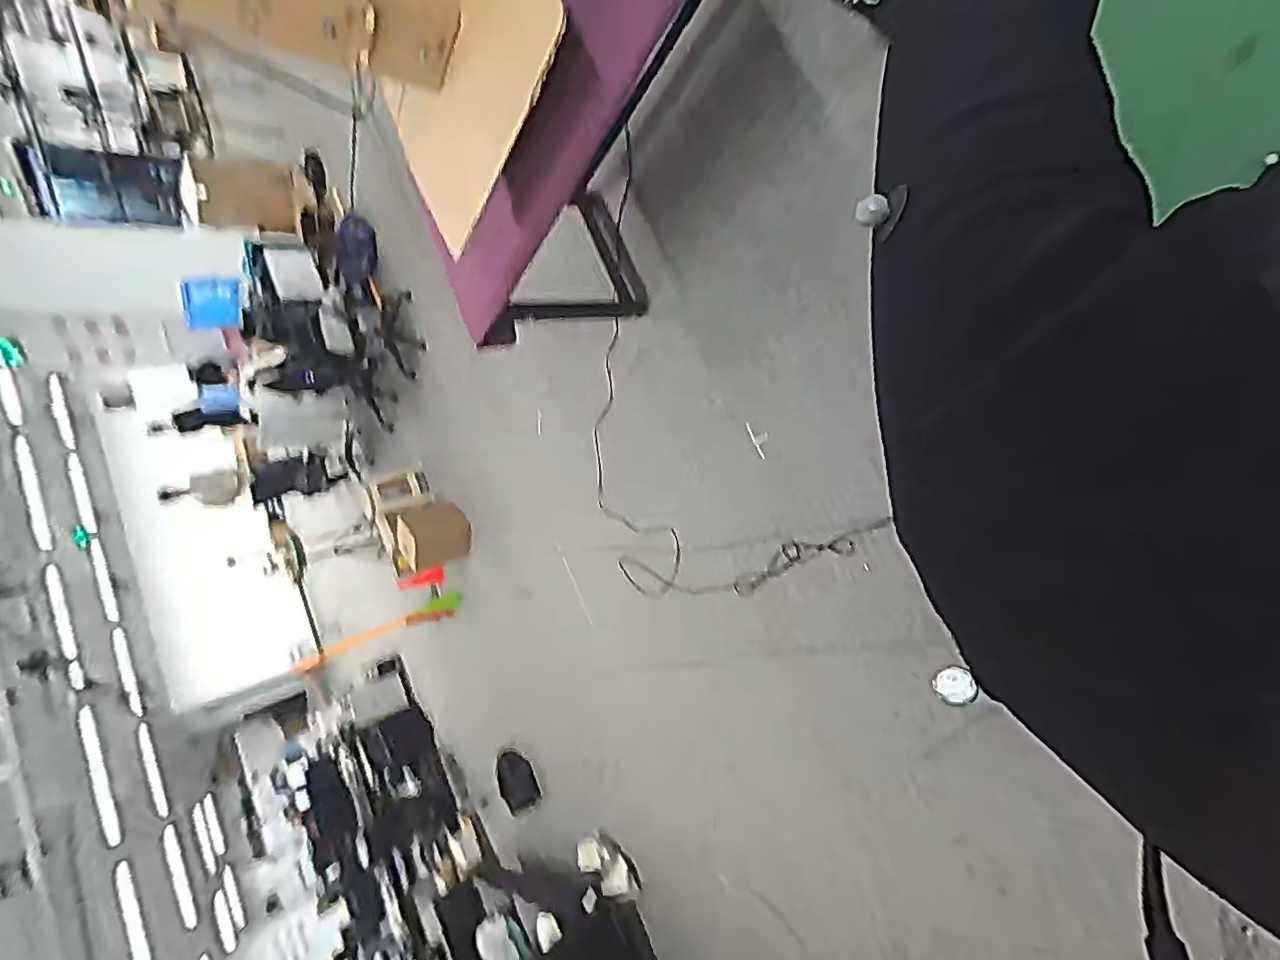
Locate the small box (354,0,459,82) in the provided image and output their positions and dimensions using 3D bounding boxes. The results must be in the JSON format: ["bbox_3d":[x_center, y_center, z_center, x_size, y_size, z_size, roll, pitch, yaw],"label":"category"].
[{"bbox_3d":[-0.482,-0.941,1.070,0.168,0.176,0.179,-32,77,50],"label":"small box"}]

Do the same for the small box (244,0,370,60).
[{"bbox_3d":[-0.605,-0.908,0.967,0.168,0.176,0.179,-32,77,49],"label":"small box"}]
